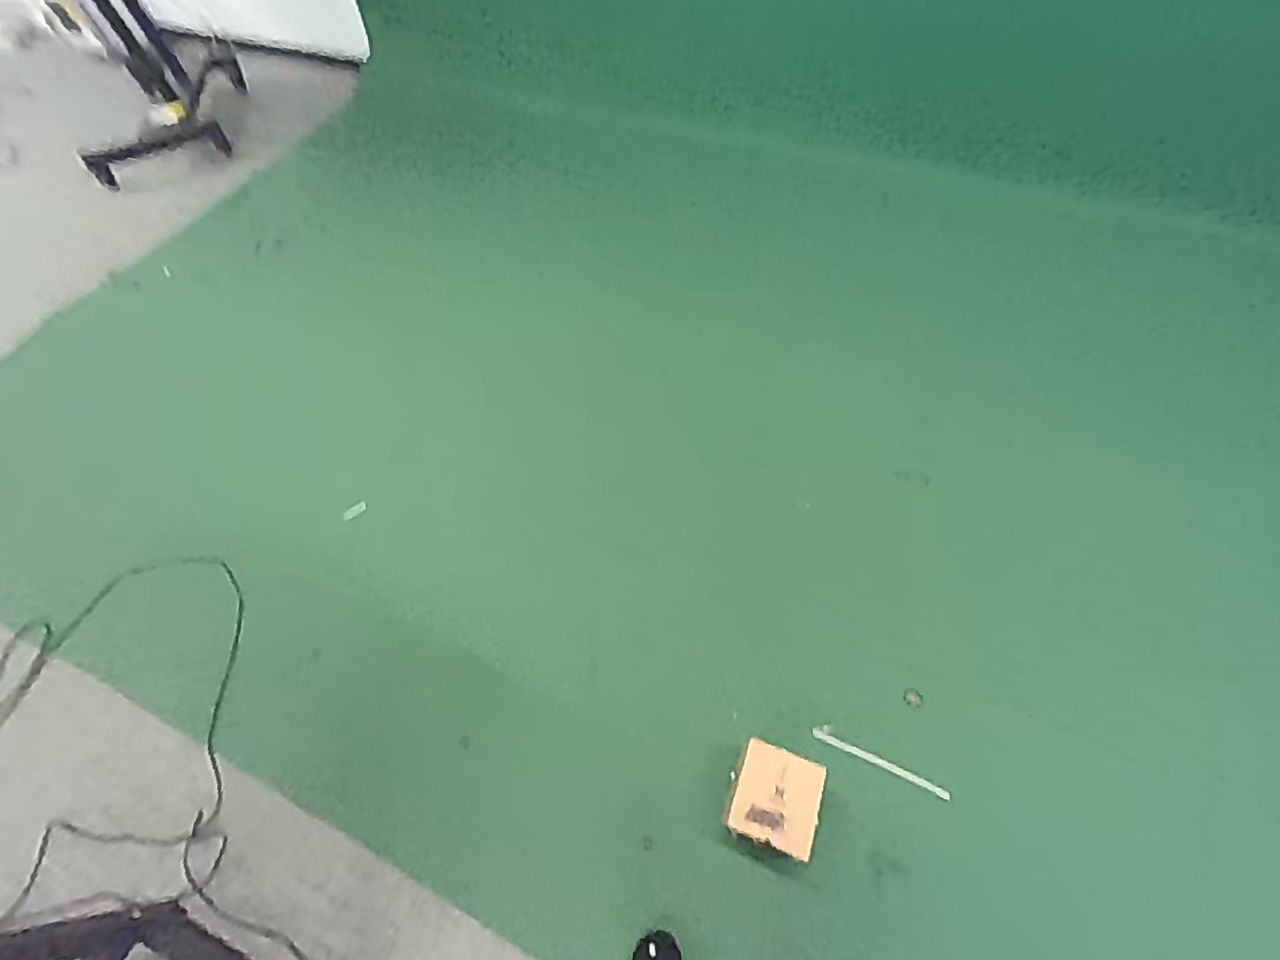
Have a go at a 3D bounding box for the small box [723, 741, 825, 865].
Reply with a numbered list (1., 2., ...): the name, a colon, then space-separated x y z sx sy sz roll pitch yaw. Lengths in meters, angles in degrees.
1. small box: 0.283 0.695 1.172 0.168 0.176 0.179 18 61 14
